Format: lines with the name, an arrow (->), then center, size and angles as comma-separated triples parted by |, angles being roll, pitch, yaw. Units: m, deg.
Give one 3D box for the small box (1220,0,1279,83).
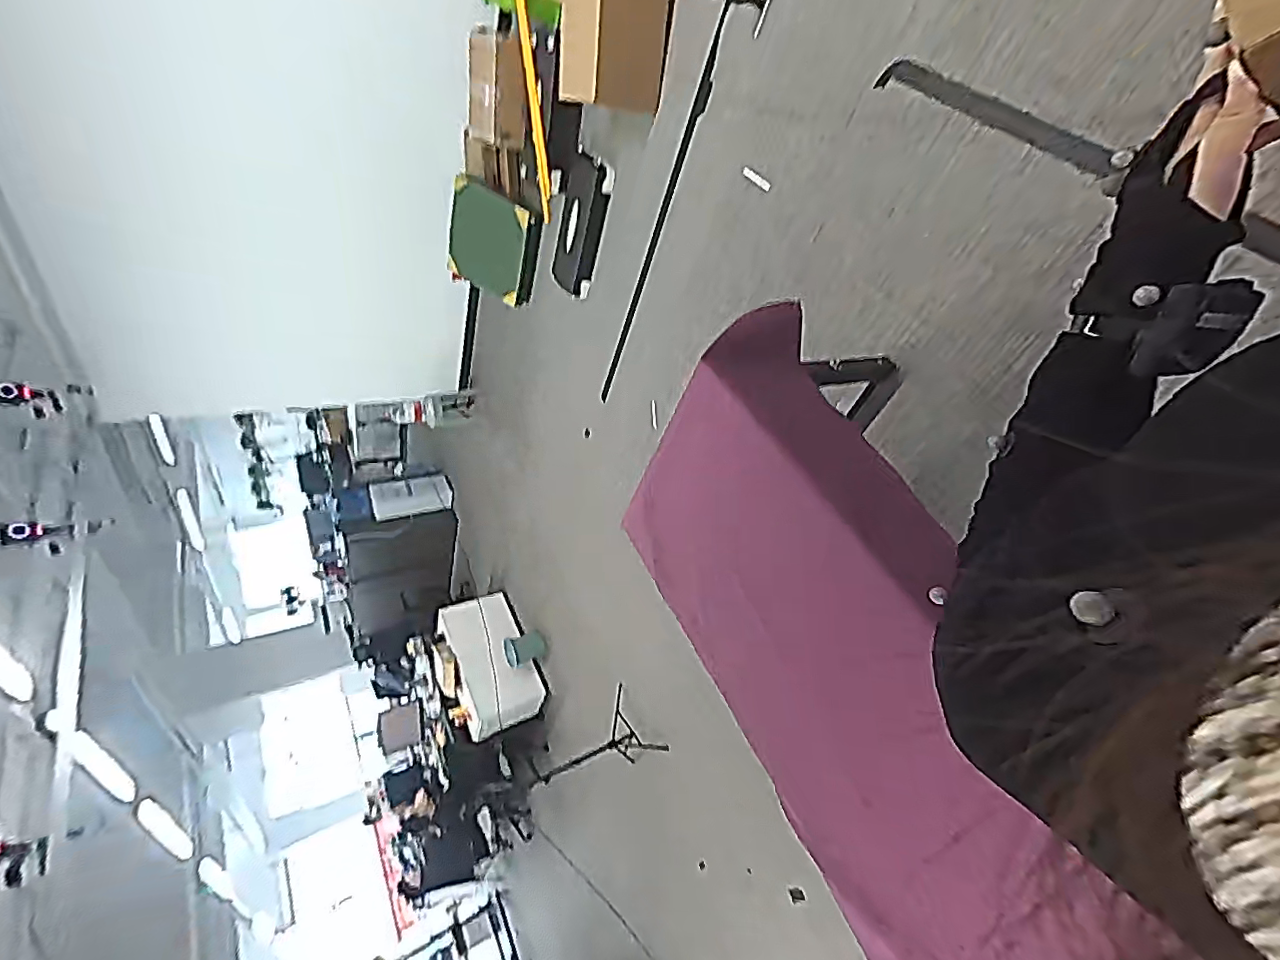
small box -> 0.355, -0.300, 0.216 | 0.168, 0.176, 0.179 | -13, 89, 56
